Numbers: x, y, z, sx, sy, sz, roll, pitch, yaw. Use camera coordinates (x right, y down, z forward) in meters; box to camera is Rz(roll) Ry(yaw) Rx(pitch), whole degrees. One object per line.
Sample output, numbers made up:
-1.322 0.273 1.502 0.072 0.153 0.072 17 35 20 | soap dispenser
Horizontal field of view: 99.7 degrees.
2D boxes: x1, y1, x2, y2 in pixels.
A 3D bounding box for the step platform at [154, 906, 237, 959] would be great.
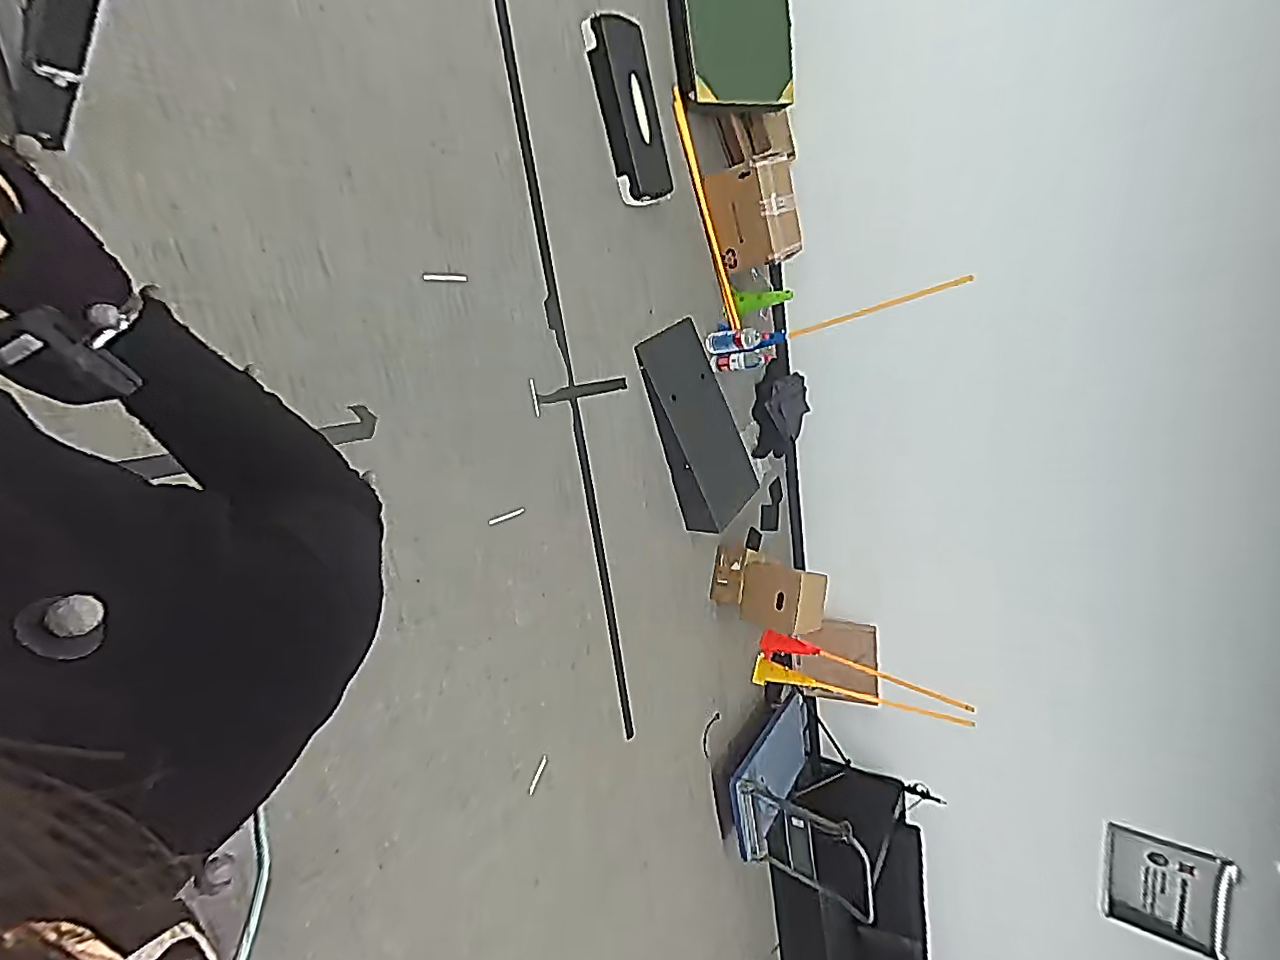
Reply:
-1.120 1.154 0.960 0.684 0.204 0.286 -15 103 -51 | step platform
